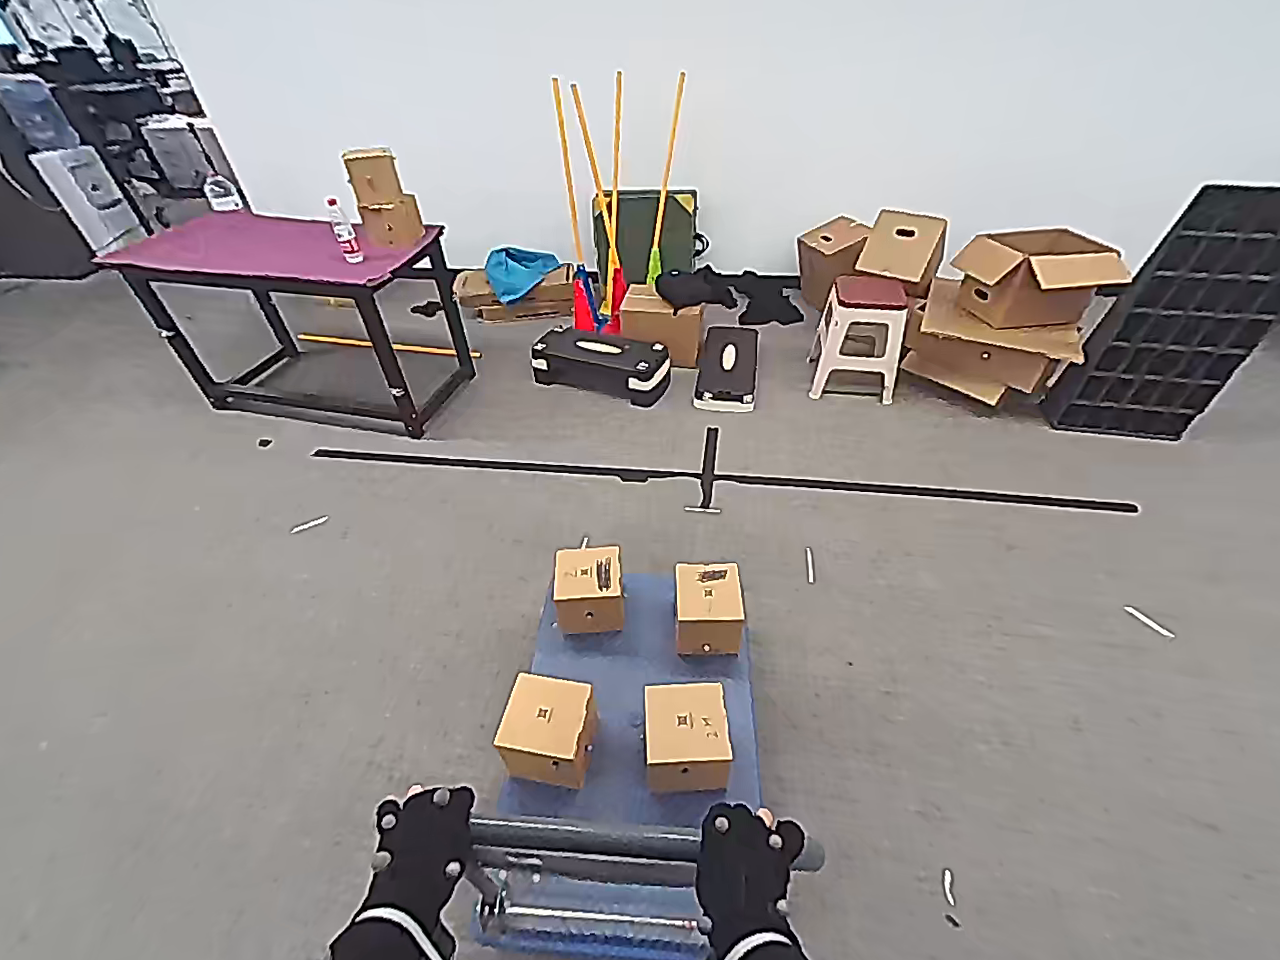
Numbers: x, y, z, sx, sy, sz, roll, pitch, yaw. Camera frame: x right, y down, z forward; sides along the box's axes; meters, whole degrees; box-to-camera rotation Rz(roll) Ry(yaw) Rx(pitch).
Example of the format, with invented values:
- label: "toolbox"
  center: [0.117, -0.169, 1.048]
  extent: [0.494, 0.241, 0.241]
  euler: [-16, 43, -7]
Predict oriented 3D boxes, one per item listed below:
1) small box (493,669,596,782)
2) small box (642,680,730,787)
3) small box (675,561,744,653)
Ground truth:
- label: "small box"
  center: [-0.206, 0.554, 1.218]
  extent: [0.179, 0.176, 0.168]
  euler: [7, 43, 8]
- label: "small box"
  center: [0.098, 0.562, 1.194]
  extent: [0.179, 0.176, 0.168]
  euler: [-2, 43, 1]
- label: "small box"
  center: [0.177, 0.335, 1.434]
  extent: [0.168, 0.176, 0.179]
  euler: [-1, 44, 3]
